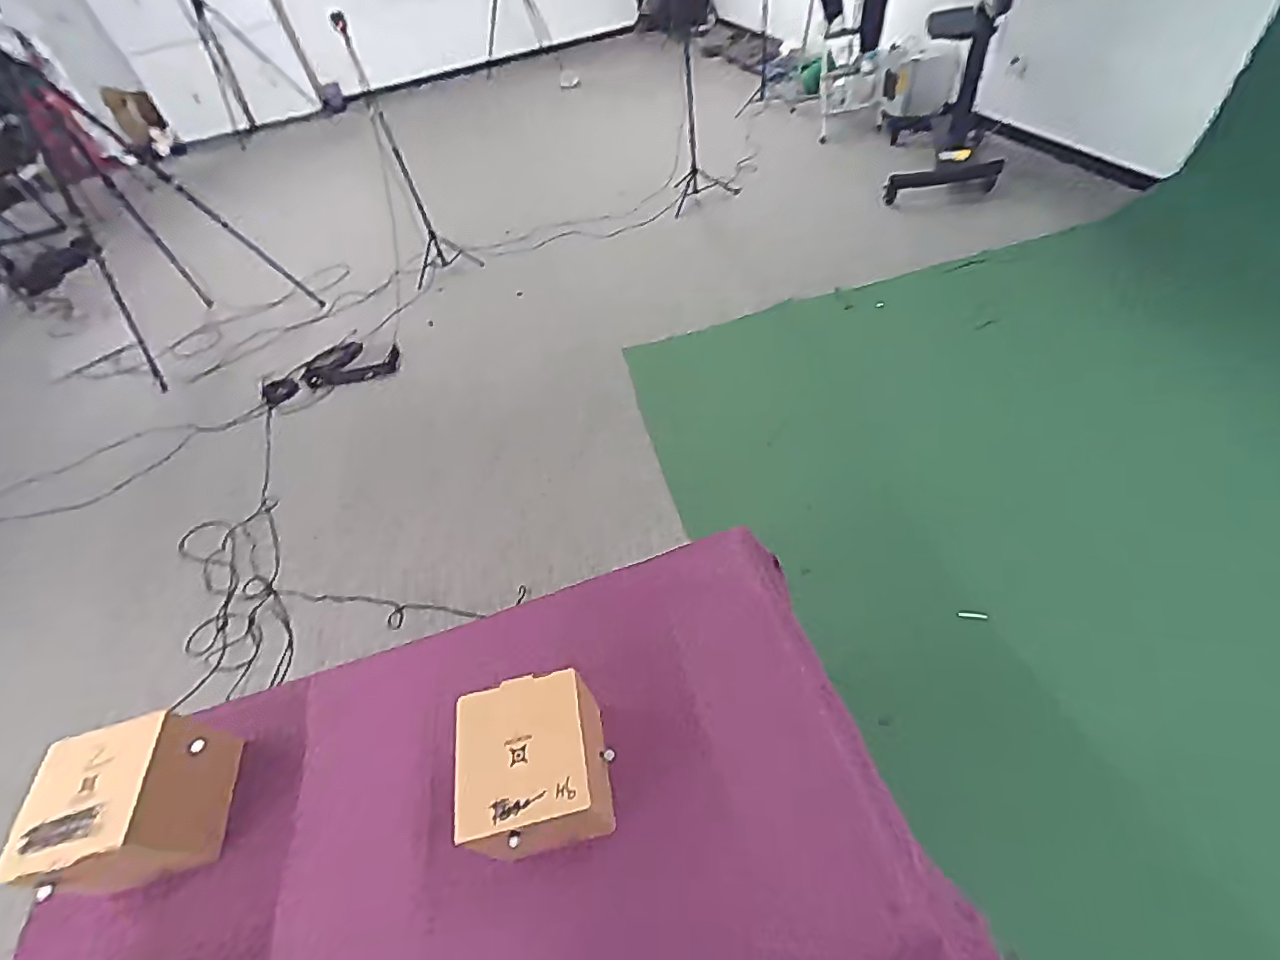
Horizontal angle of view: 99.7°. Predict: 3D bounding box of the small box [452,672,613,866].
[{"bbox_3d":[-0.141,0.395,0.738,0.168,0.176,0.179,-14,47,-1],"label":"small box"}]
